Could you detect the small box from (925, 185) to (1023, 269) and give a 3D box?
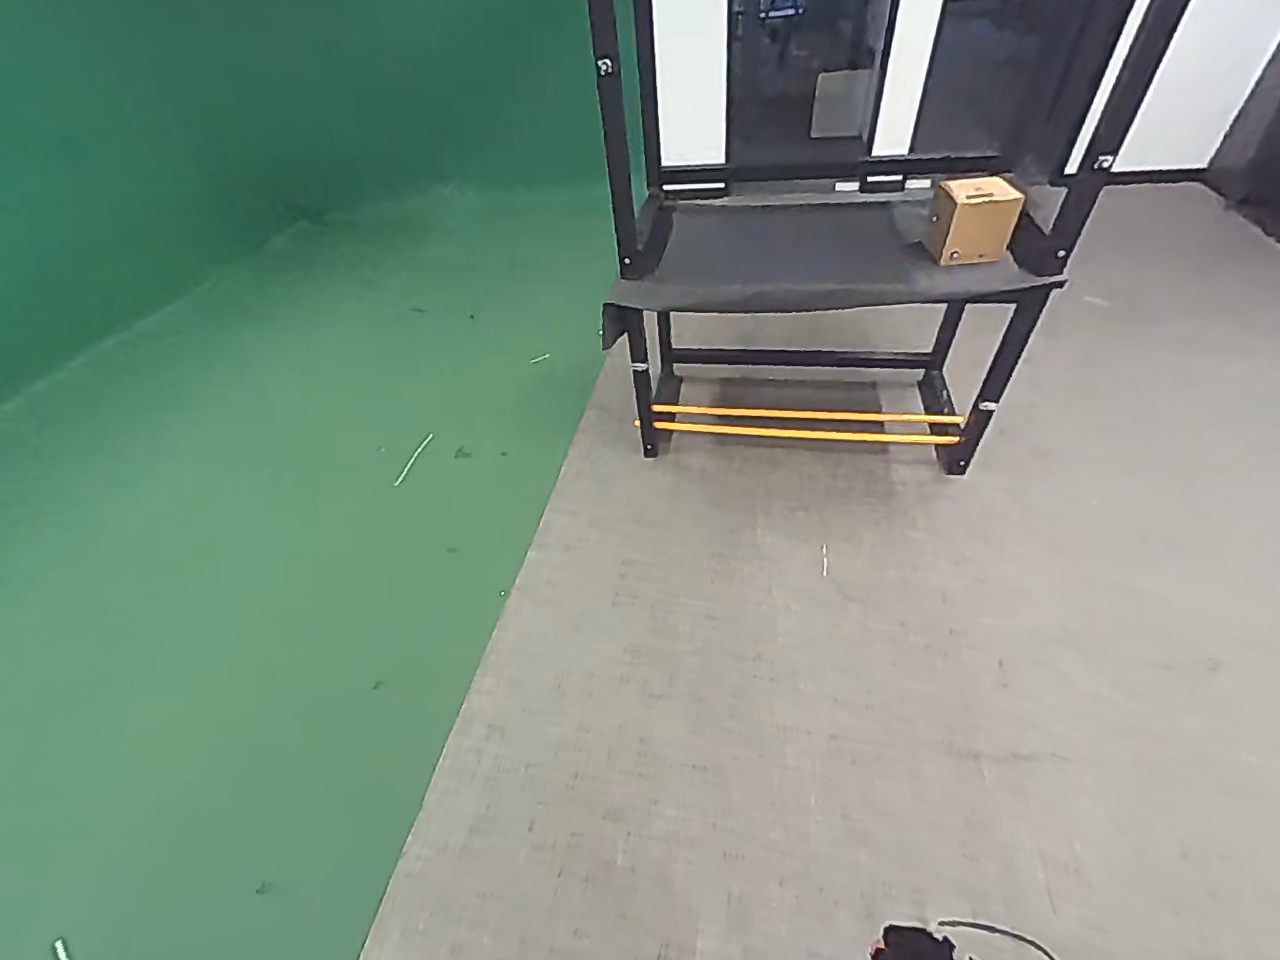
[{"bbox_3d":[0.931,-0.706,1.523,0.168,0.176,0.179,-1,44,7],"label":"small box"}]
